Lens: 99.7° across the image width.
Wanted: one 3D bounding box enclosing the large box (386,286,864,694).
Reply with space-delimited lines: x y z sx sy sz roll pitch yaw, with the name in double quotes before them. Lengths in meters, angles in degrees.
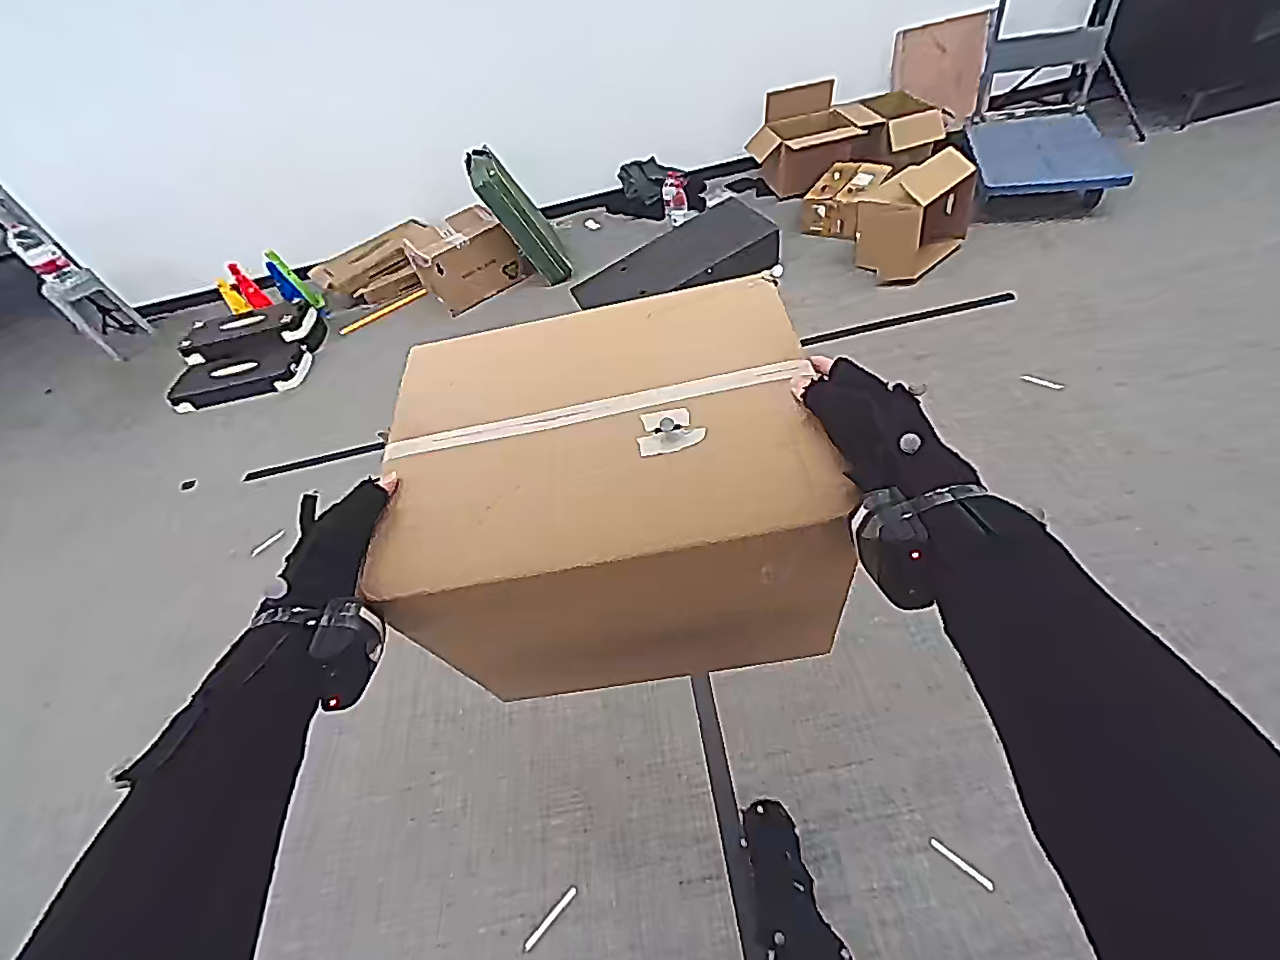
"large box" -0.011 0.028 0.639 0.408 0.320 0.320 -10 54 4
